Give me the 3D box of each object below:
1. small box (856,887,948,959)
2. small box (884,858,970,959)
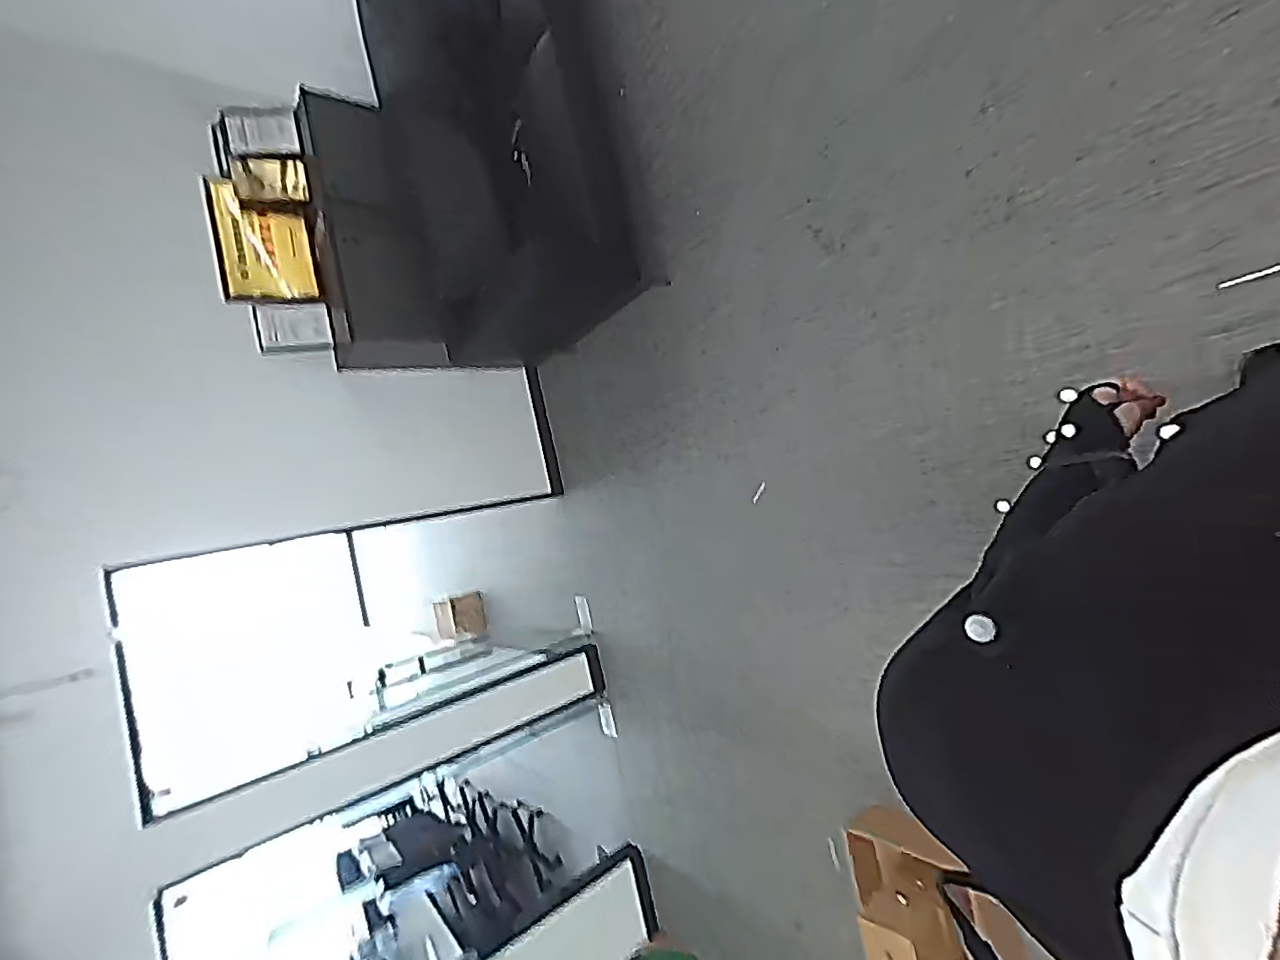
[{"bbox_3d":[0.753,1.327,1.545,0.168,0.176,0.179,-18,83,51],"label":"small box"},{"bbox_3d":[0.880,1.304,1.648,0.179,0.176,0.168,-11,89,51],"label":"small box"}]
